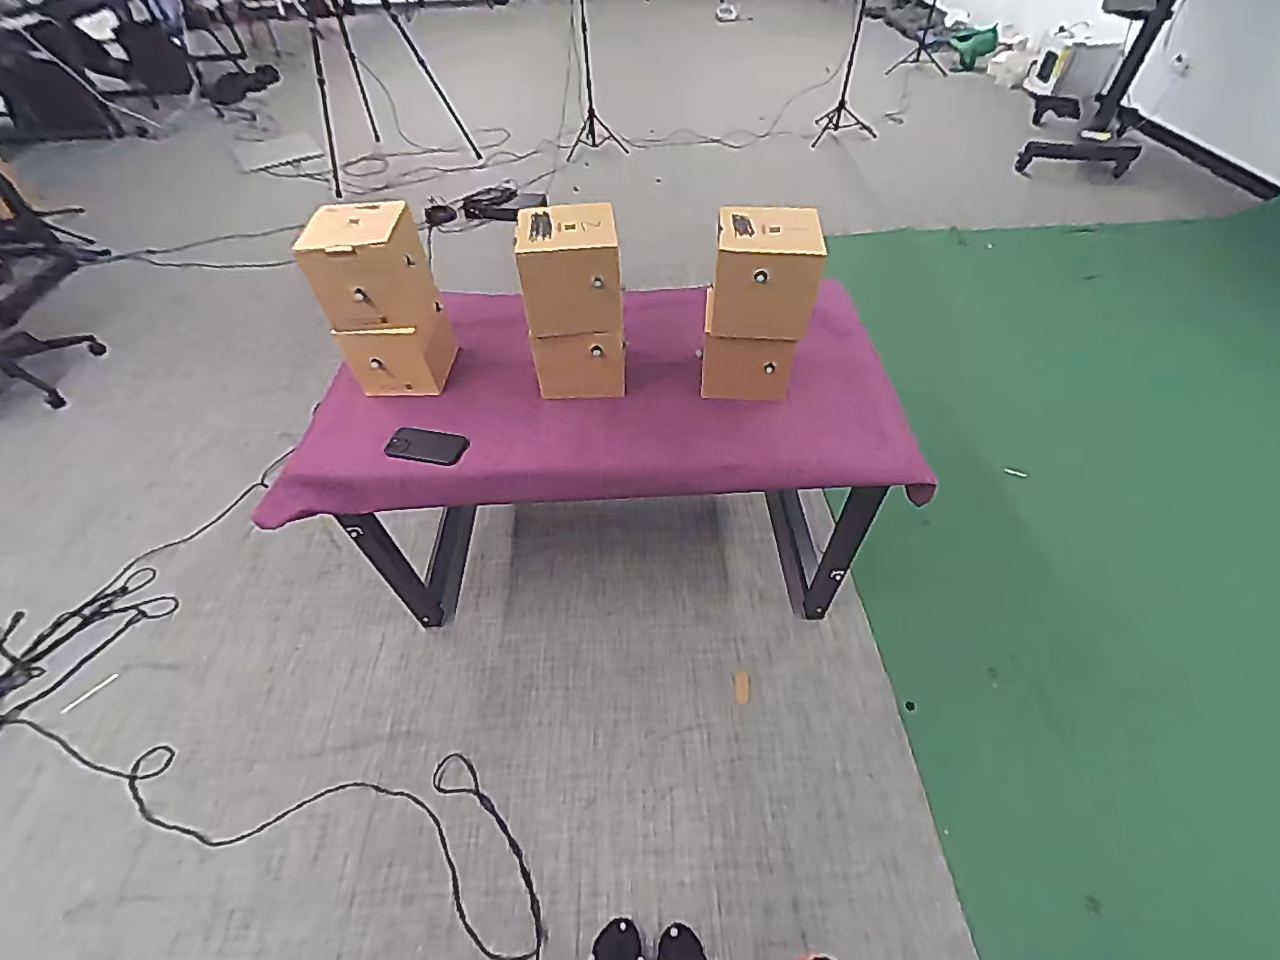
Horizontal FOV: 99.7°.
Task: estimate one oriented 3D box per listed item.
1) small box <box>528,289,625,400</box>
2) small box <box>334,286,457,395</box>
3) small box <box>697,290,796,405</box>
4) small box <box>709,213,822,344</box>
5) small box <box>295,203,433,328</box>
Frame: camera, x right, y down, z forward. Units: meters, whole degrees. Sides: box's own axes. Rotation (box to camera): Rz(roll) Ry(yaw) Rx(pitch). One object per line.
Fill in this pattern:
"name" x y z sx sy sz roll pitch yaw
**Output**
"small box" -0.124 -0.283 1.141 0.179 0.176 0.168 0 50 2
"small box" -0.514 -0.297 1.168 0.168 0.176 0.179 0 50 2
"small box" 0.216 -0.272 1.123 0.179 0.176 0.168 5 50 6
"small box" 0.220 -0.365 0.987 0.179 0.176 0.168 5 50 5
"small box" -0.518 -0.409 1.047 0.168 0.176 0.179 -3 51 -2
